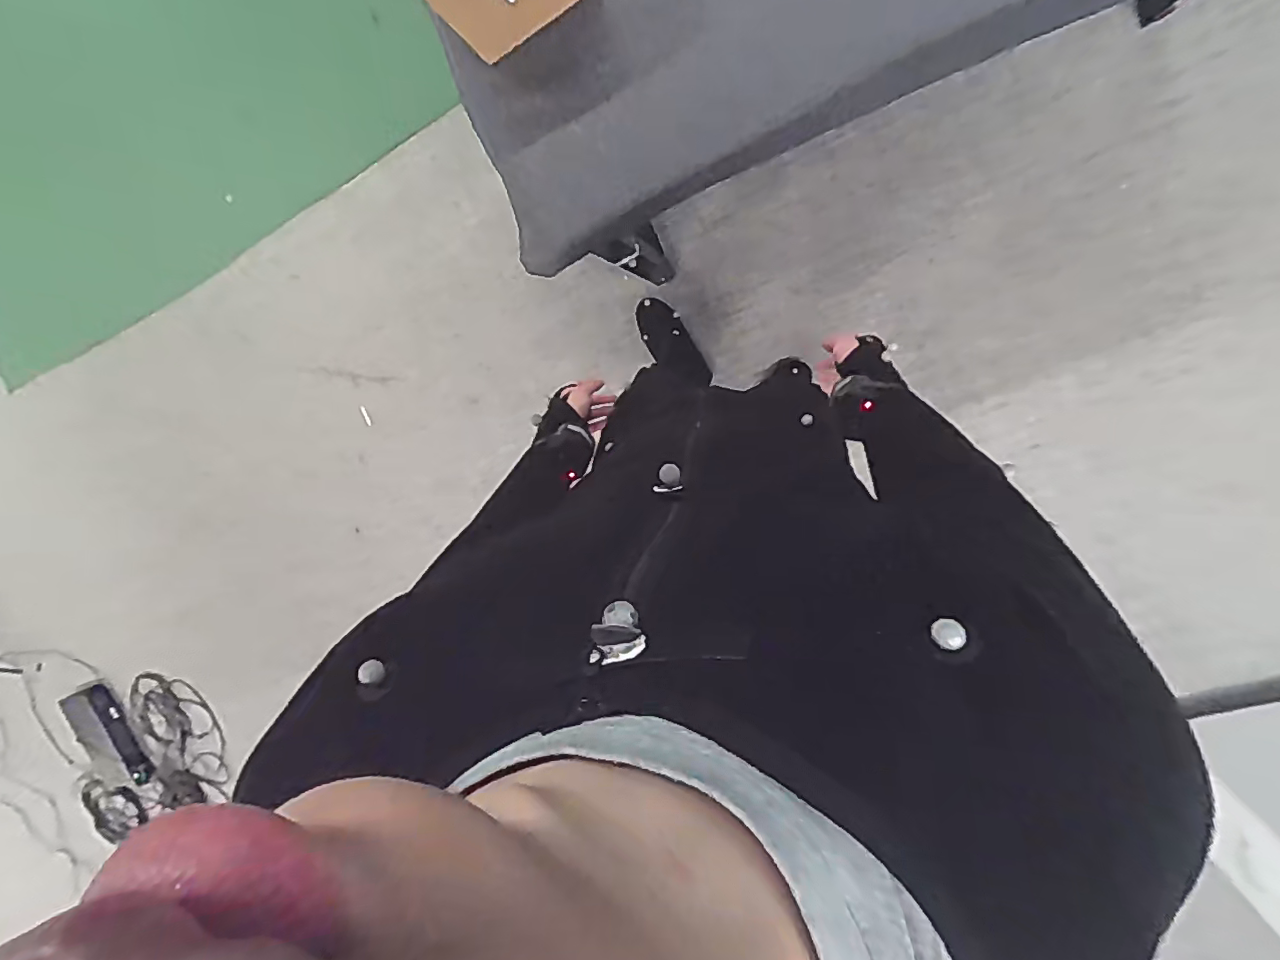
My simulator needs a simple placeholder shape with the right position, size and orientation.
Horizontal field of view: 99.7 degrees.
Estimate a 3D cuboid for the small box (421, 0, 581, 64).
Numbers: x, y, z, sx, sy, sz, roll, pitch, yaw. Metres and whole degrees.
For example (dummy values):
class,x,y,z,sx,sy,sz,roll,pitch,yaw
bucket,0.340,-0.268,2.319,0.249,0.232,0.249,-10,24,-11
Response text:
class,x,y,z,sx,sy,sz,roll,pitch,yaw
small box,-0.177,-0.638,0.618,0.179,0.176,0.168,-23,98,18
